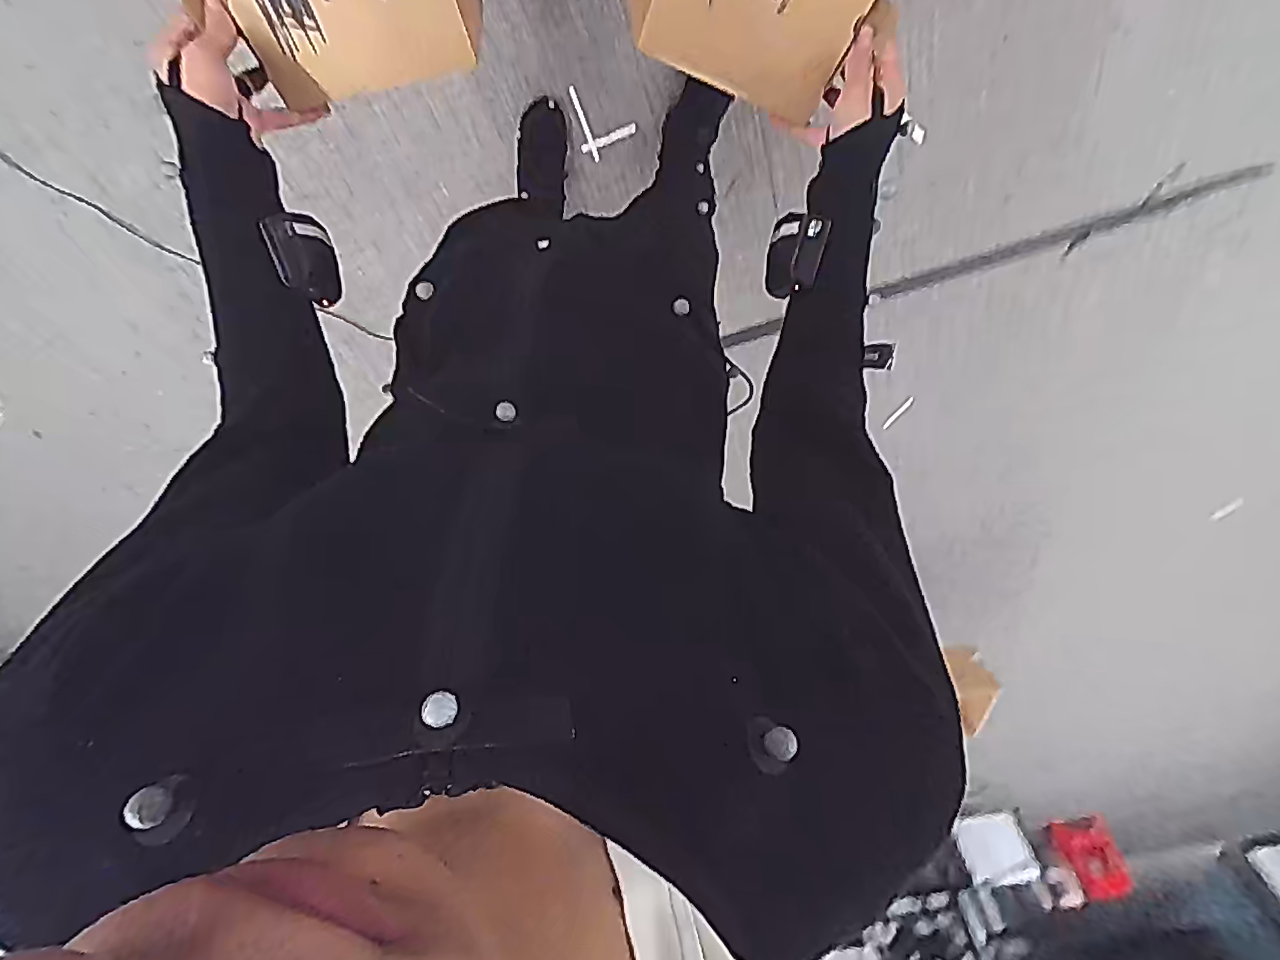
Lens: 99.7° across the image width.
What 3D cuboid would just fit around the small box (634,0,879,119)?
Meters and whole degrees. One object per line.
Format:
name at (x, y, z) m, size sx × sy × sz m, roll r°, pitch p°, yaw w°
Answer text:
small box at (0.104, -0.463, 0.464) m, size 0.179 × 0.176 × 0.168 m, roll 10°, pitch 142°, yaw -21°
